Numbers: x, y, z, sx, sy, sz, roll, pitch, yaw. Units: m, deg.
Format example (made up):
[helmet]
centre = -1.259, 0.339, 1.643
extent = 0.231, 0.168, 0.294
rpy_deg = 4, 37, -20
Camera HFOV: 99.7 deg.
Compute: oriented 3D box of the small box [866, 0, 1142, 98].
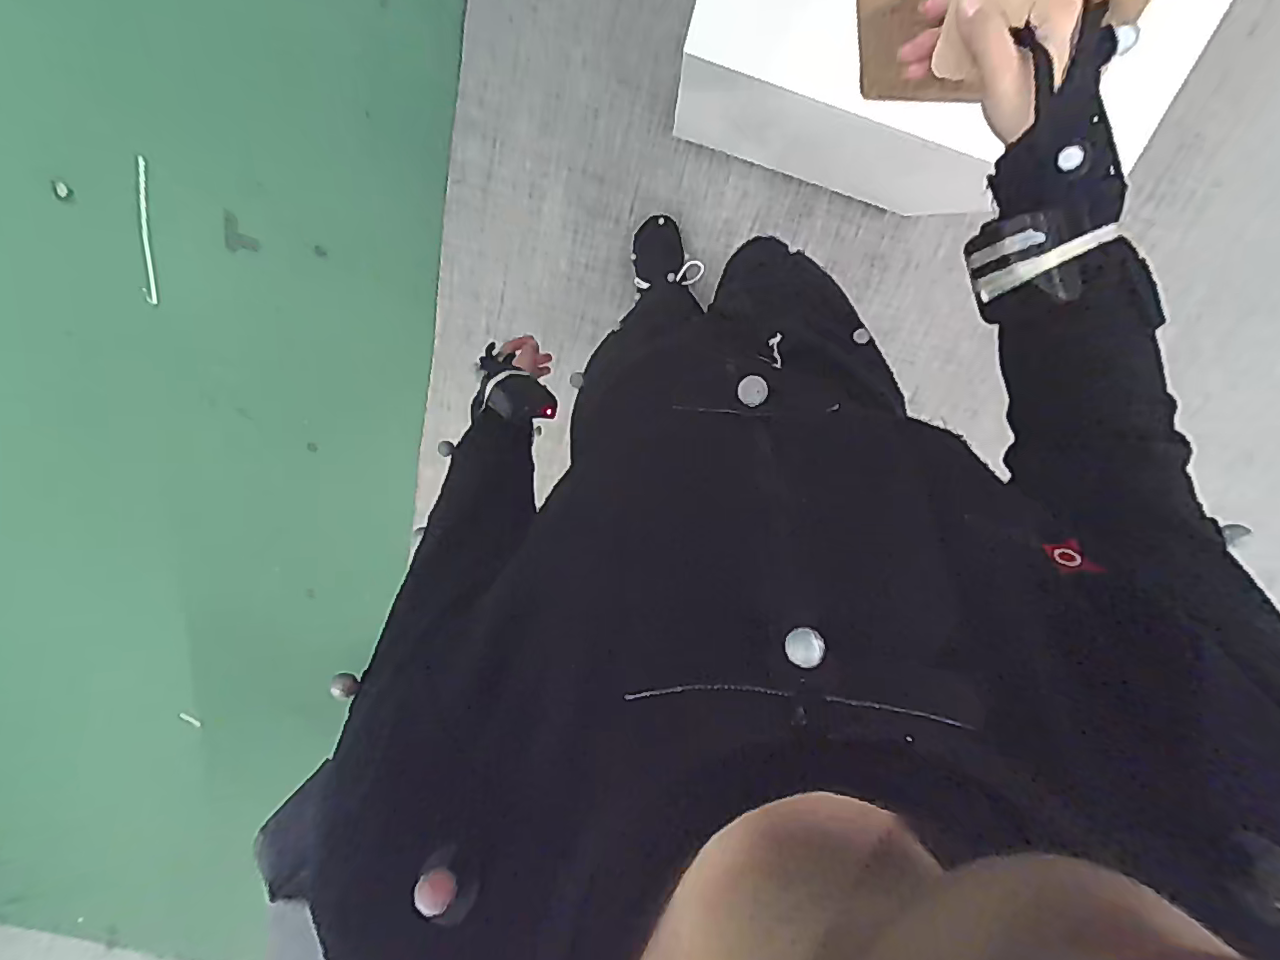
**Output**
[small box]
centre = 0.250, -0.388, 0.346
extent = 0.168, 0.176, 0.179
rpy_deg = 17, 103, 21
